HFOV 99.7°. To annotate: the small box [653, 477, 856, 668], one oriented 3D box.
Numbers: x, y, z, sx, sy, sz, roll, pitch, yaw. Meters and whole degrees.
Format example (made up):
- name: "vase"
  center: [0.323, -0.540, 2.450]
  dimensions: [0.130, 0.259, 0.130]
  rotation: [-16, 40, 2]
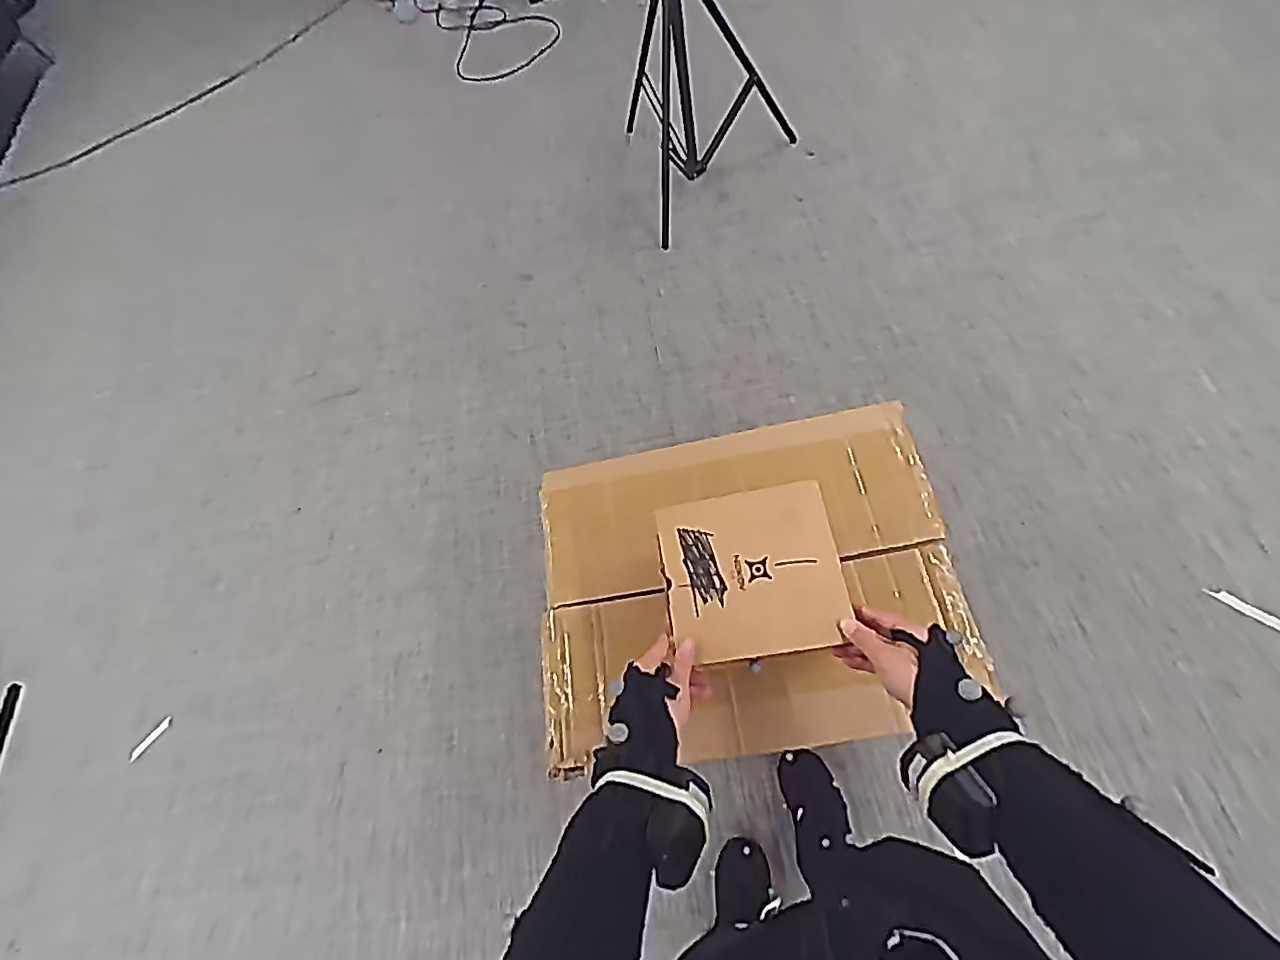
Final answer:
- name: "small box"
  center: [0.122, 0.114, 0.611]
  dimensions: [0.179, 0.176, 0.168]
  rotation: [-11, 68, 7]
